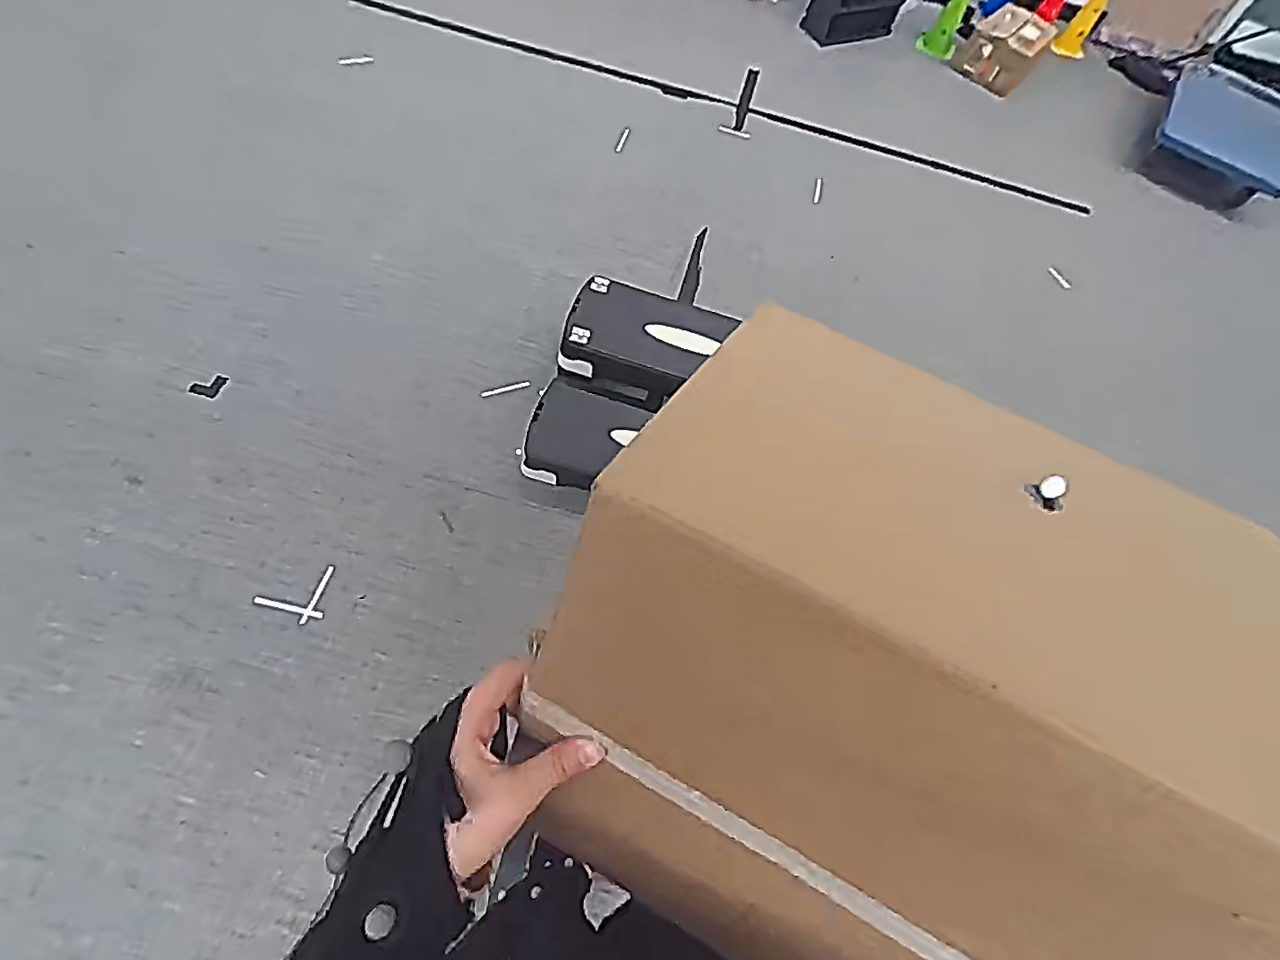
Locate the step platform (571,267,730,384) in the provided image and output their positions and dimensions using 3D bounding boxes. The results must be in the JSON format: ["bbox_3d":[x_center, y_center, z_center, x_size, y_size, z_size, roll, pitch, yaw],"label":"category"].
[{"bbox_3d":[0.154,-0.348,1.540,0.684,0.204,0.286,22,62,1],"label":"step platform"}]
